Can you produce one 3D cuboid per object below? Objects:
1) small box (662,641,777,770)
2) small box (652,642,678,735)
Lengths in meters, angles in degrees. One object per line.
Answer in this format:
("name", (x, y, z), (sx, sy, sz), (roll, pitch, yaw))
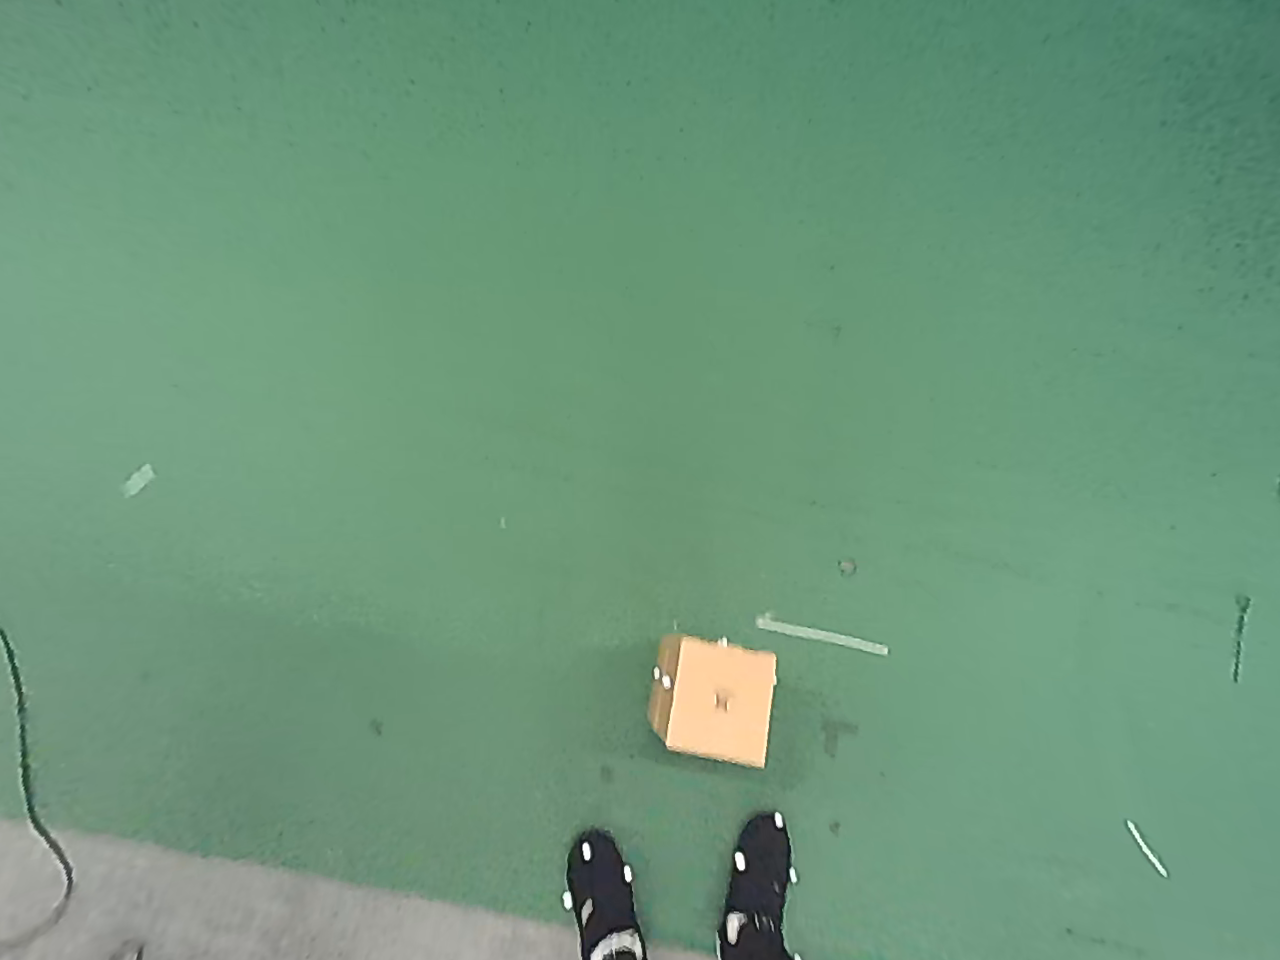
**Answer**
("small box", (0.135, 0.394, 0.972), (0.168, 0.176, 0.179), (11, 72, 0))
("small box", (0.122, 0.440, 1.126), (0.168, 0.176, 0.179), (11, 74, 0))
